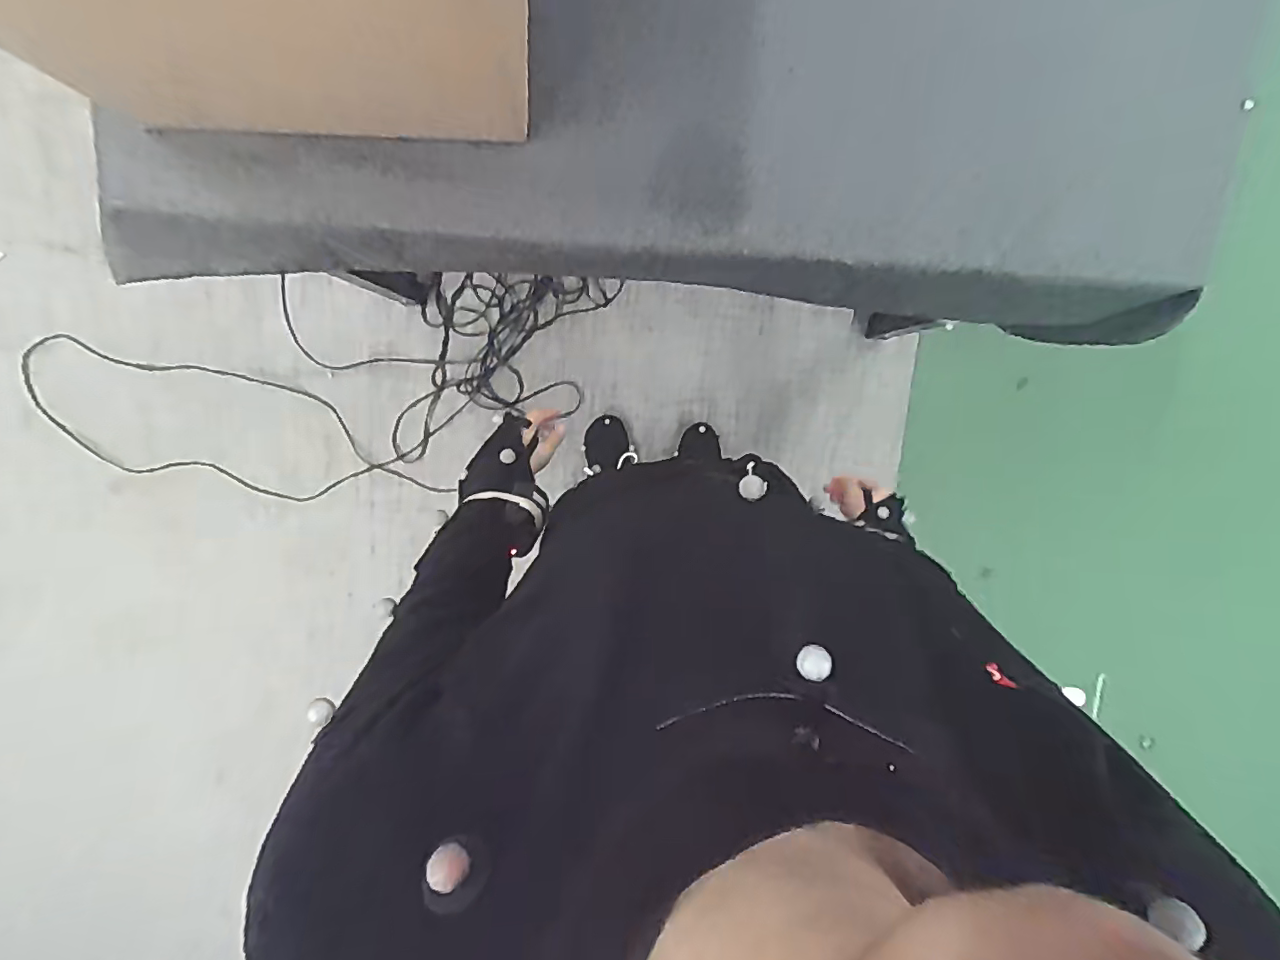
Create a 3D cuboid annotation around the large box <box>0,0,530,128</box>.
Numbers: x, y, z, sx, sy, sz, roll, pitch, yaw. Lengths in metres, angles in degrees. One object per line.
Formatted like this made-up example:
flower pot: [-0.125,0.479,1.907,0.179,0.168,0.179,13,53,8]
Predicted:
large box: [-0.304,-0.494,0.390,0.408,0.320,0.320,0,99,-3]
